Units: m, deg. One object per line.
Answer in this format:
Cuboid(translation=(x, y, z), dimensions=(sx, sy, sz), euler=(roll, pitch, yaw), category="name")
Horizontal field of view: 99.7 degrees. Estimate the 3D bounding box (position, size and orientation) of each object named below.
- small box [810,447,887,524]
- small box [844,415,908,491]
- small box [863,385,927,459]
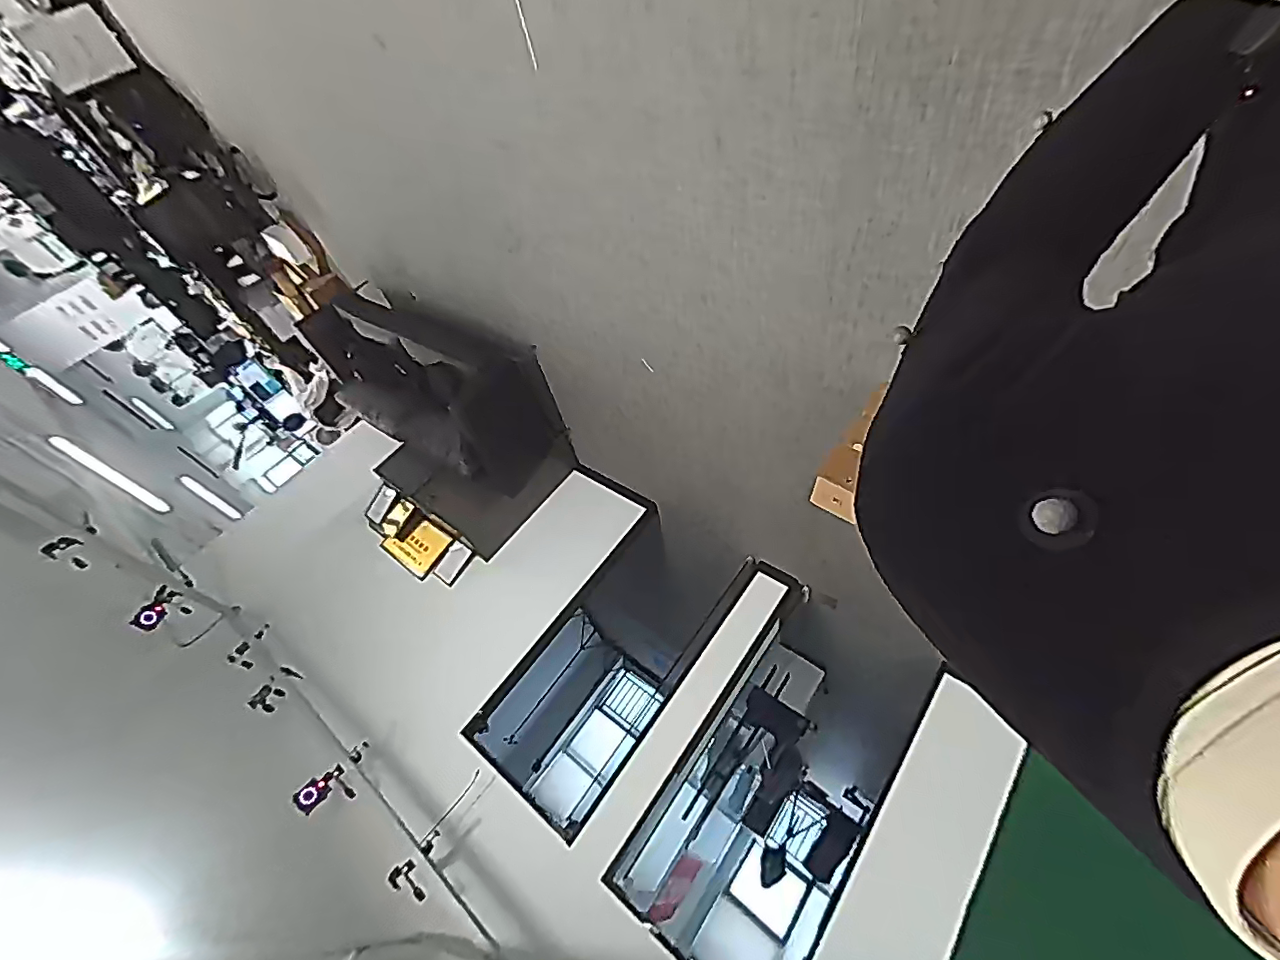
Cuboid(translation=(0.715, 0.014, 1.852), dimensions=(0.179, 0.176, 0.168), euler=(31, 154, 23), category="small box")
Cuboid(translation=(0.819, -0.096, 1.913), dimensions=(0.168, 0.176, 0.179), euler=(30, 155, 22), category="small box")
Cuboid(translation=(0.917, -0.216, 1.969), dimensions=(0.168, 0.176, 0.179), euler=(29, 154, 27), category="small box")
